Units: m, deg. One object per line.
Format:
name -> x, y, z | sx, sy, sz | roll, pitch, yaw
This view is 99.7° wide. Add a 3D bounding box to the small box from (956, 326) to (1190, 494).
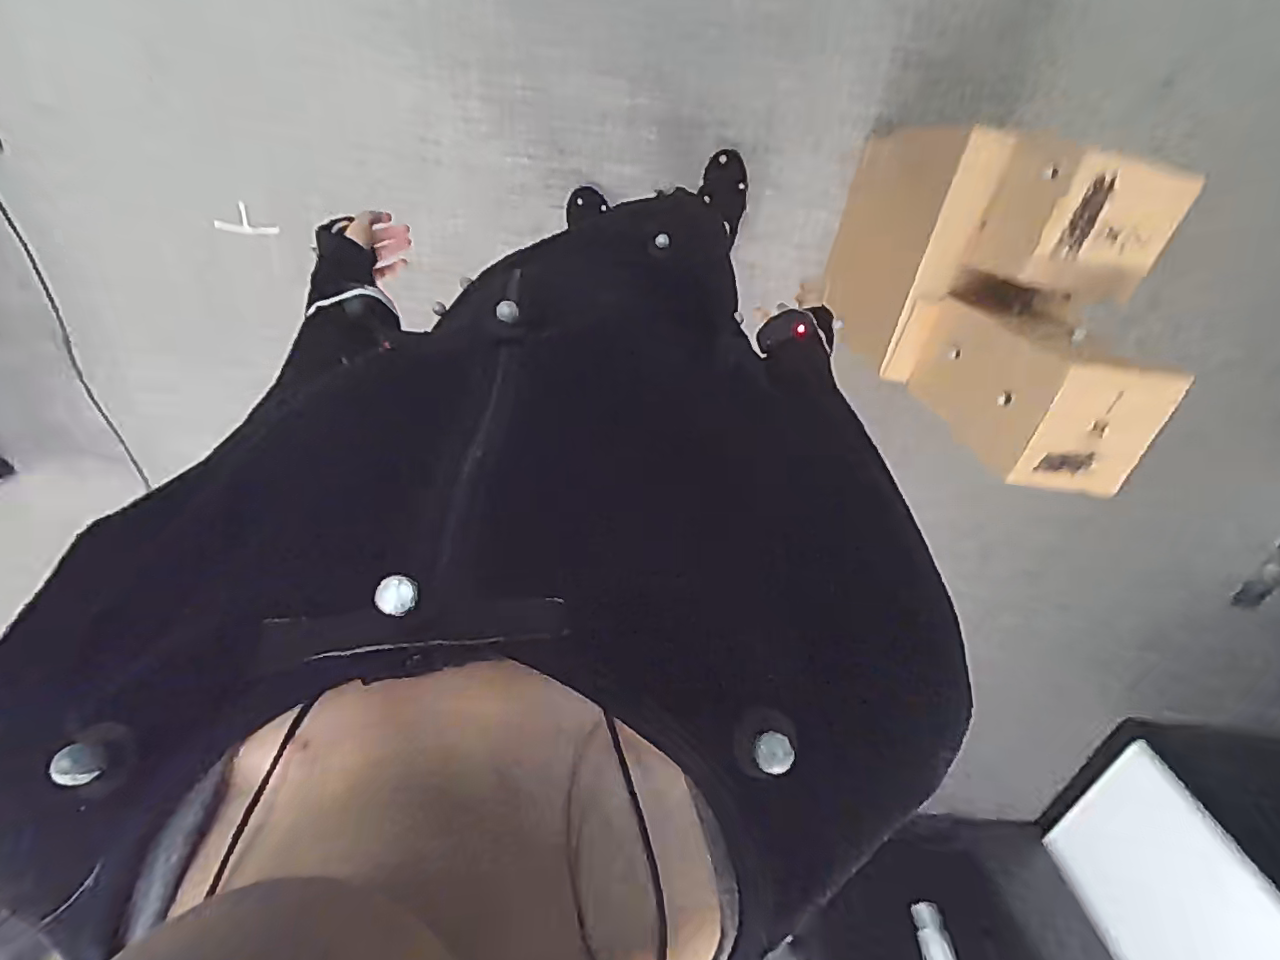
small box -> 0.596, -0.105, 0.779 | 0.168, 0.176, 0.179 | 7, 120, -5
